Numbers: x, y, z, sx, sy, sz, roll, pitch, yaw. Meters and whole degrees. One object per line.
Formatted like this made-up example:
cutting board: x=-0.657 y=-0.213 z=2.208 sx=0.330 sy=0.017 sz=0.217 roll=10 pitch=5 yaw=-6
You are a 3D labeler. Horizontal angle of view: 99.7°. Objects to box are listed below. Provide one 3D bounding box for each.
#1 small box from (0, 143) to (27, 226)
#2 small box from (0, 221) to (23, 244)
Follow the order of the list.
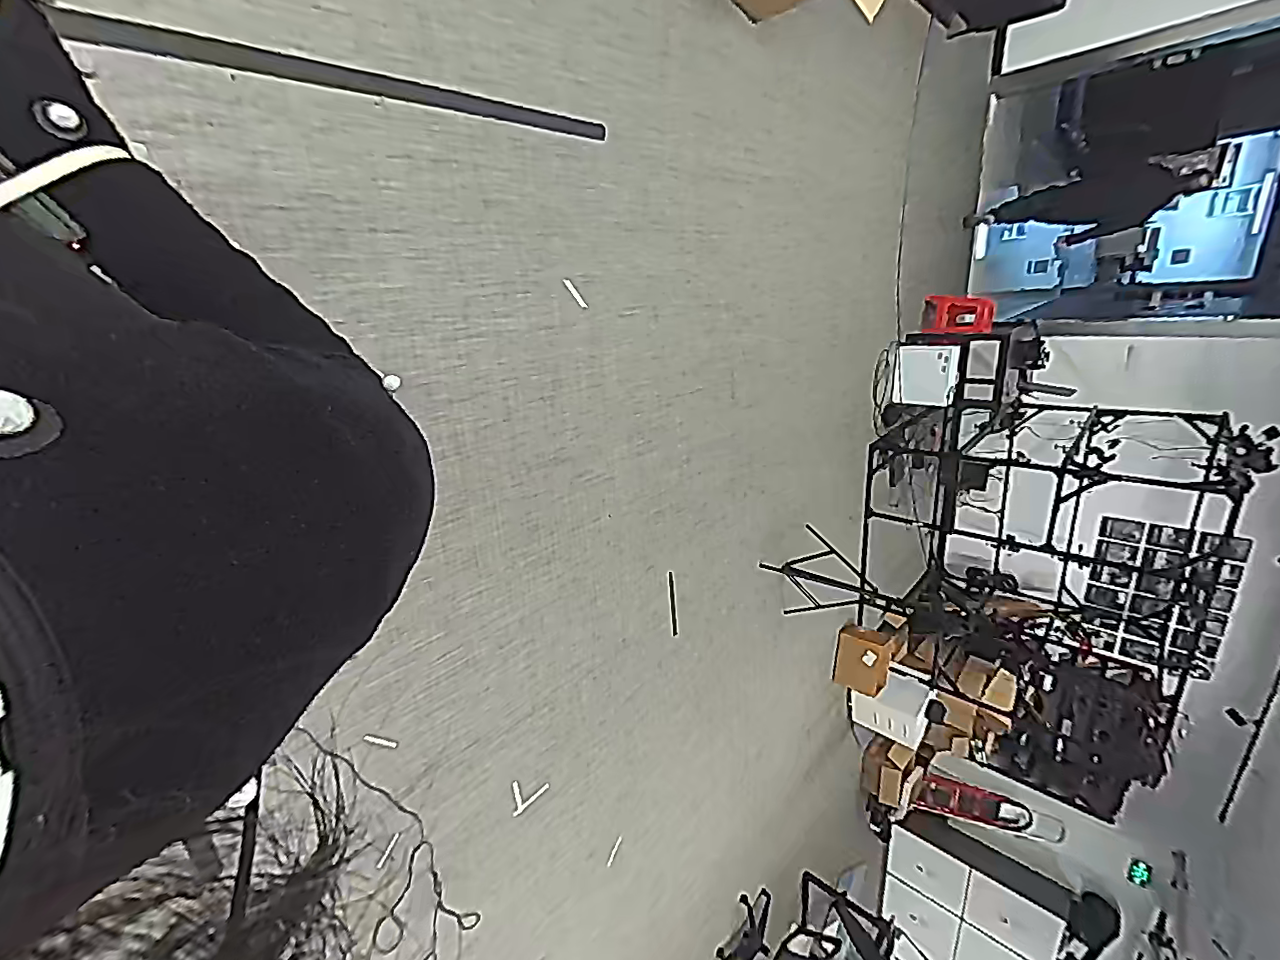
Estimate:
small box: x=-0.873 y=-0.405 z=0.629 sx=0.168 sy=0.176 sz=0.179 roll=-26 pitch=118 yaw=-42
small box: x=-0.997 y=-0.429 z=0.735 sx=0.168 sy=0.176 sz=0.179 roll=-25 pitch=116 yaw=-42
